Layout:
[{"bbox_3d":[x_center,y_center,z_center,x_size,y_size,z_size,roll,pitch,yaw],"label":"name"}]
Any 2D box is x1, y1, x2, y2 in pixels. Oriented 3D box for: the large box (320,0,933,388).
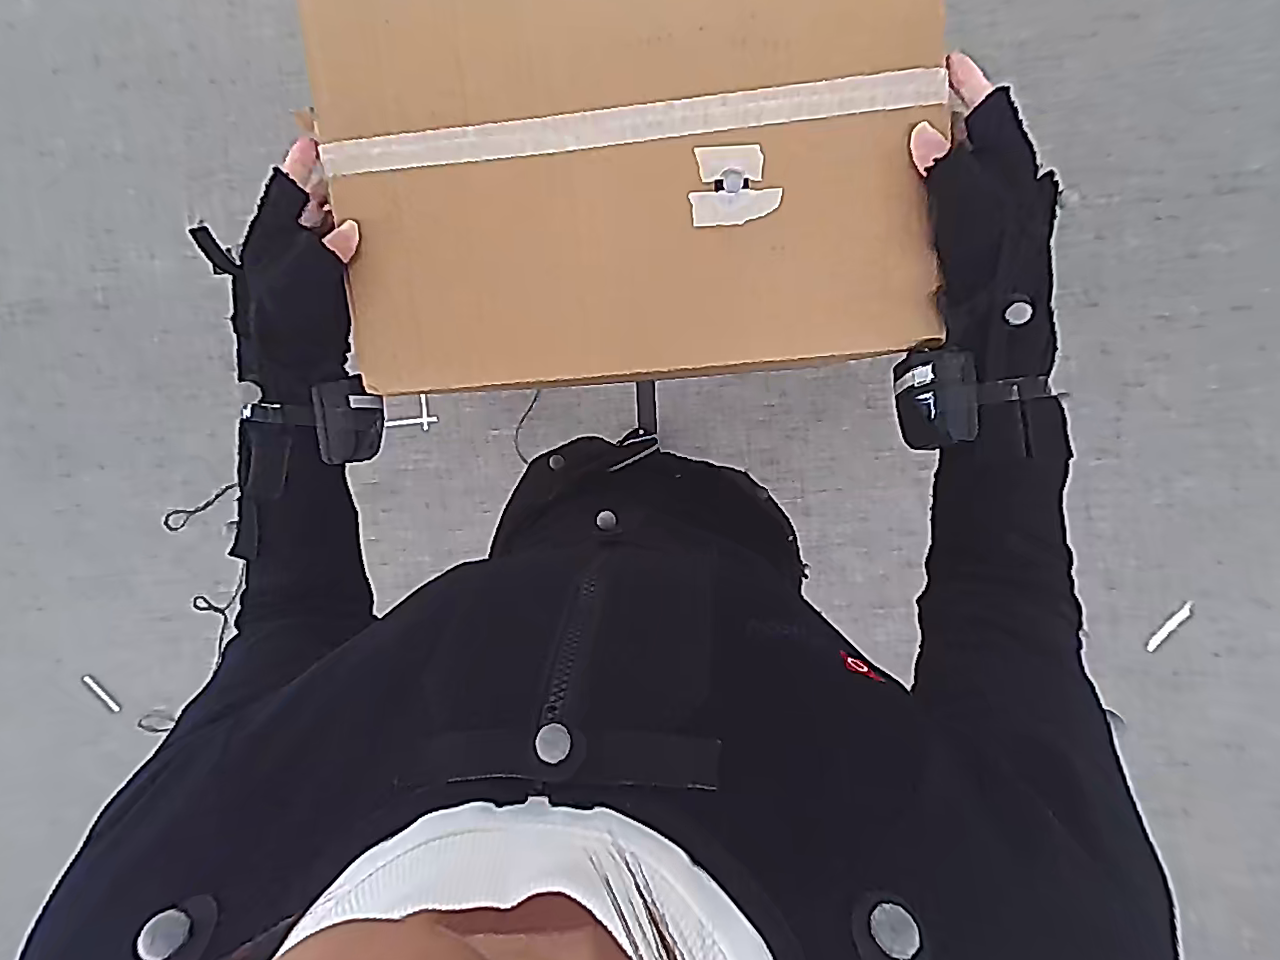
[{"bbox_3d":[-0.003,-0.263,0.511,0.408,0.320,0.320,-5,100,3],"label":"large box"}]
